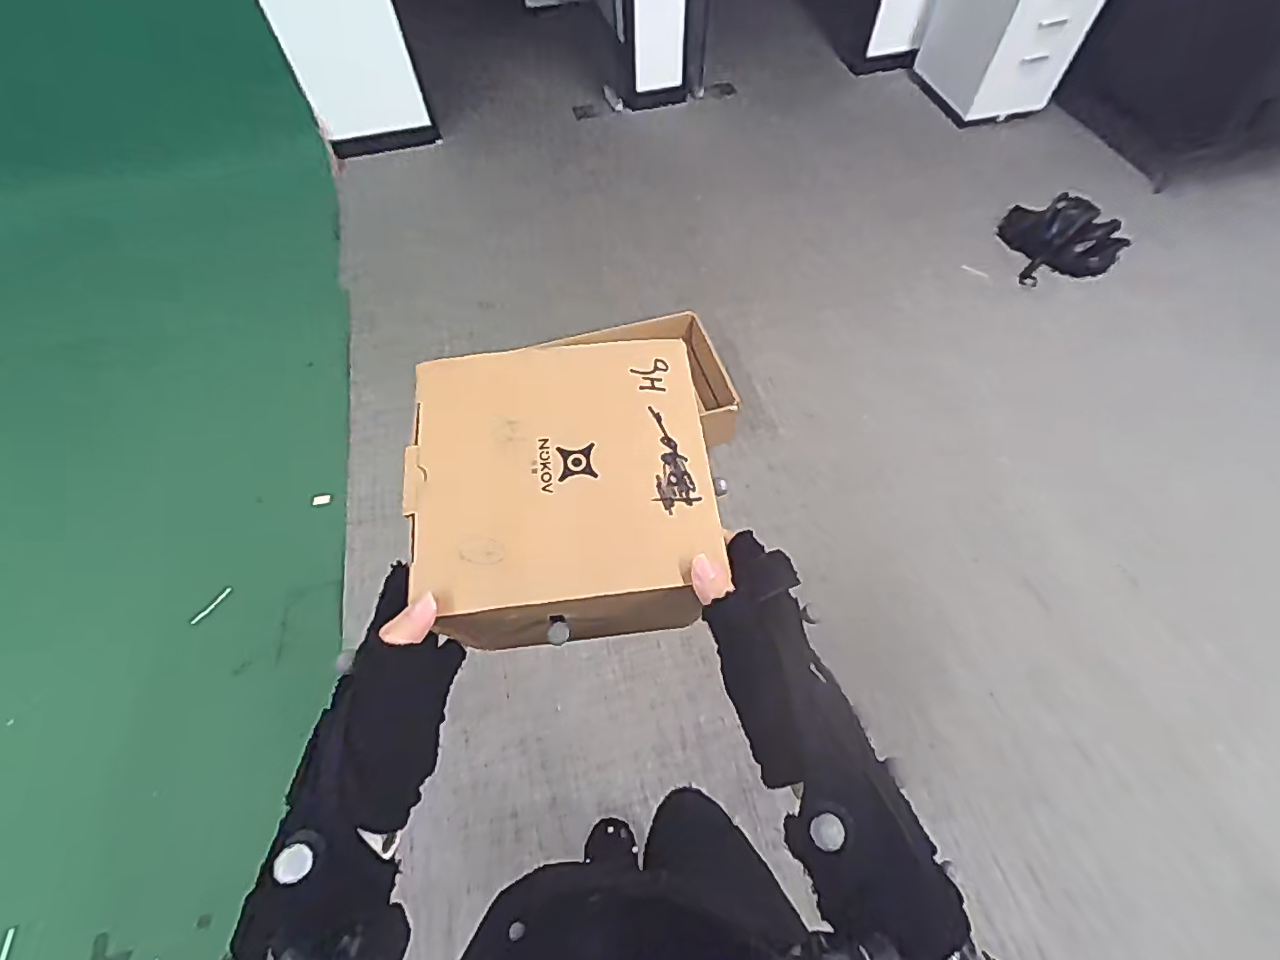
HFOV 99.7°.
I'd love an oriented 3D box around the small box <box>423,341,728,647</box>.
[{"bbox_3d":[-0.048,0.021,0.409,0.179,0.176,0.168,-8,66,-6],"label":"small box"}]
